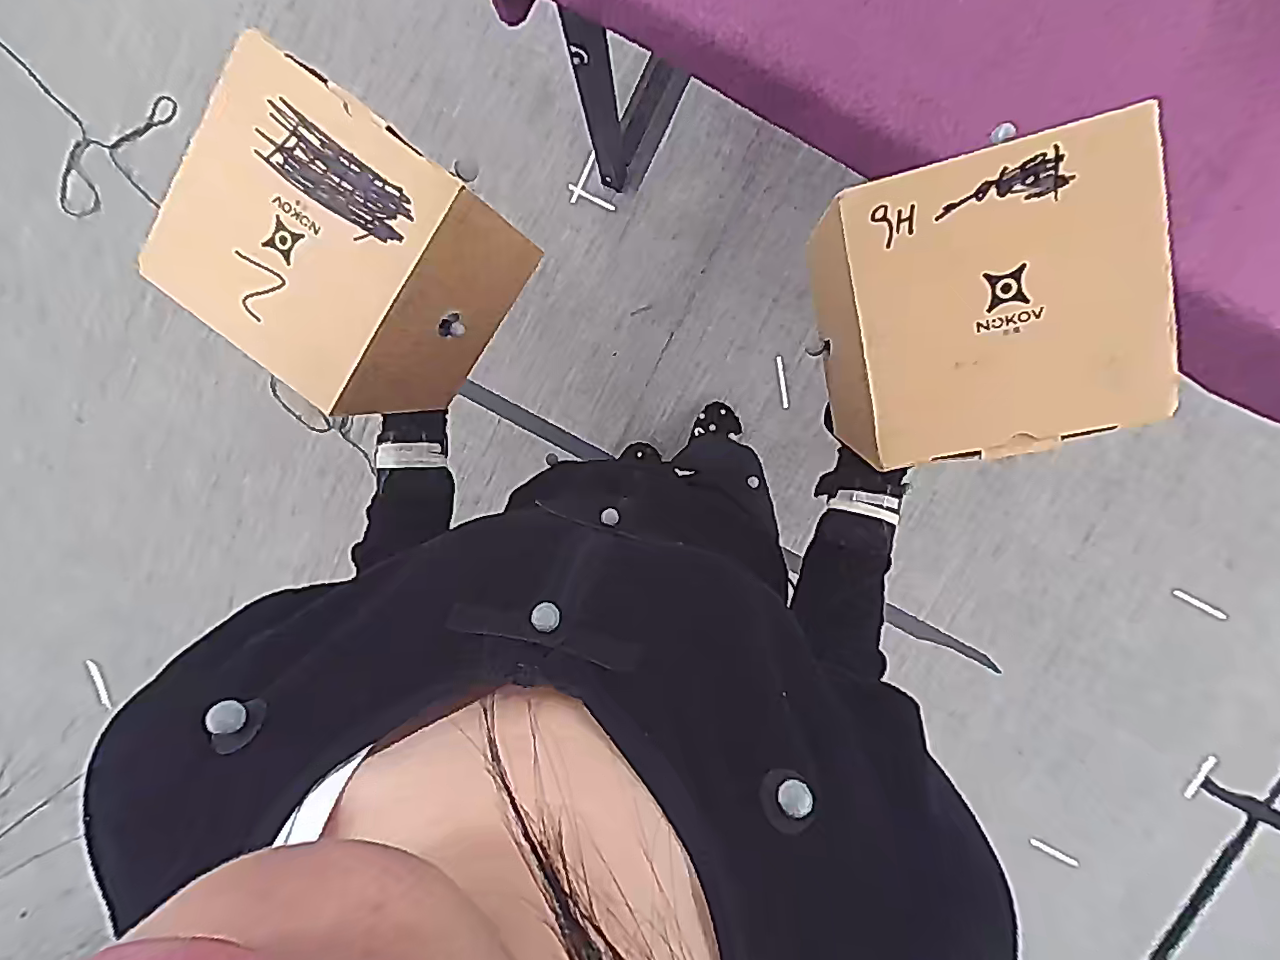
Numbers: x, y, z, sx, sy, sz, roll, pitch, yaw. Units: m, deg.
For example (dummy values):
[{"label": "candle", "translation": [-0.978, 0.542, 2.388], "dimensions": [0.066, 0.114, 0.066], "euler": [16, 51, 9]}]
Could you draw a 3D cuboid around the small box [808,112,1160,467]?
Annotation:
[{"label": "small box", "translation": [0.230, -0.123, 0.402], "dimensions": [0.168, 0.176, 0.179], "euler": [-11, 101, 12]}]
